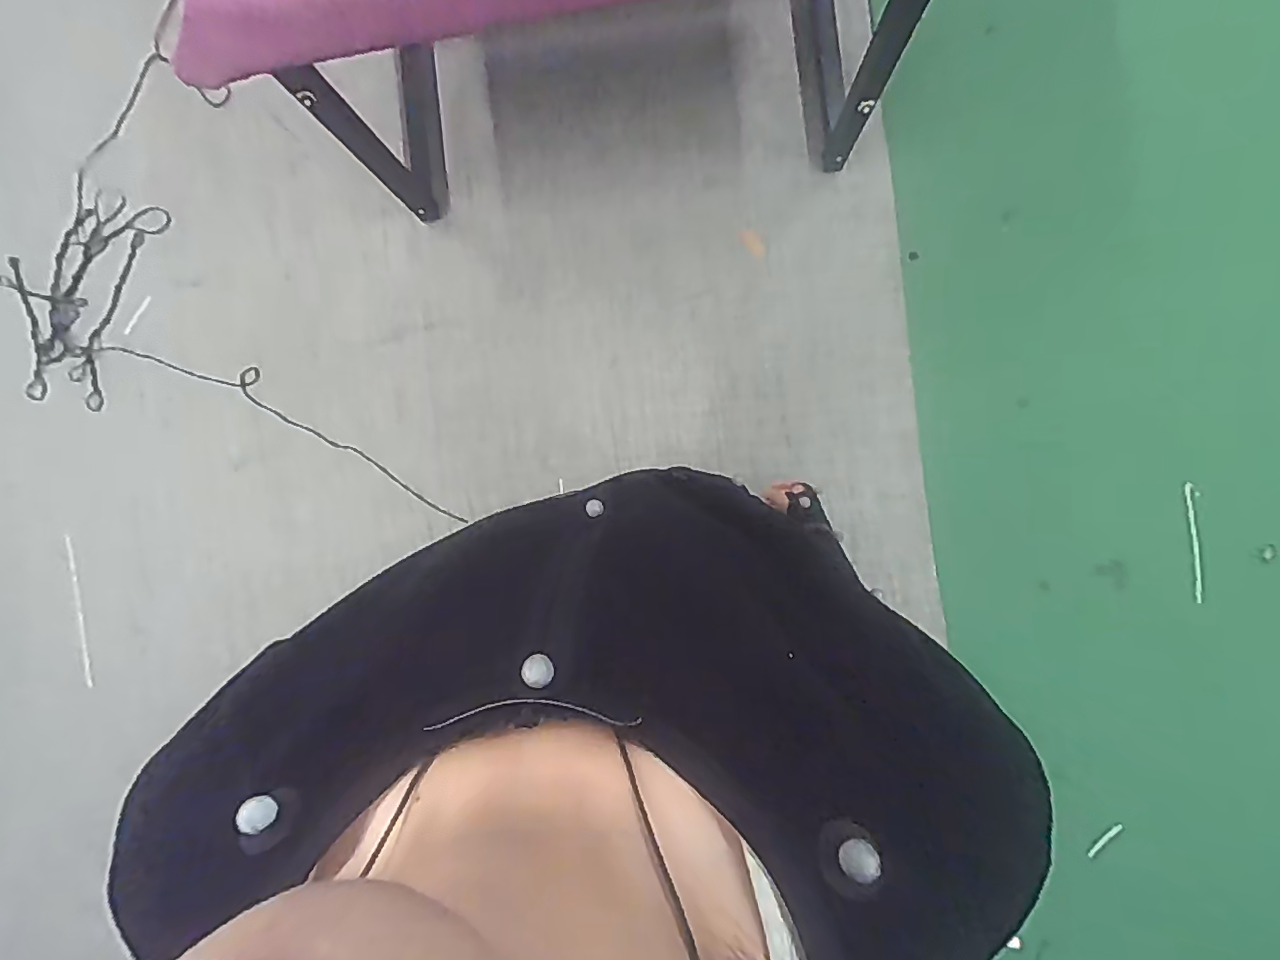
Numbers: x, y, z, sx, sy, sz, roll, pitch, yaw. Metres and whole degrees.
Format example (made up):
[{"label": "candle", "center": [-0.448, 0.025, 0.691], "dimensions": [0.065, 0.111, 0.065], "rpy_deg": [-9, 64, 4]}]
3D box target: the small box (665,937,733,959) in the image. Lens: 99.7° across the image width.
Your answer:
[{"label": "small box", "center": [0.139, 1.220, 1.261], "dimensions": [0.168, 0.176, 0.179], "rpy_deg": [1, 91, 5]}]
